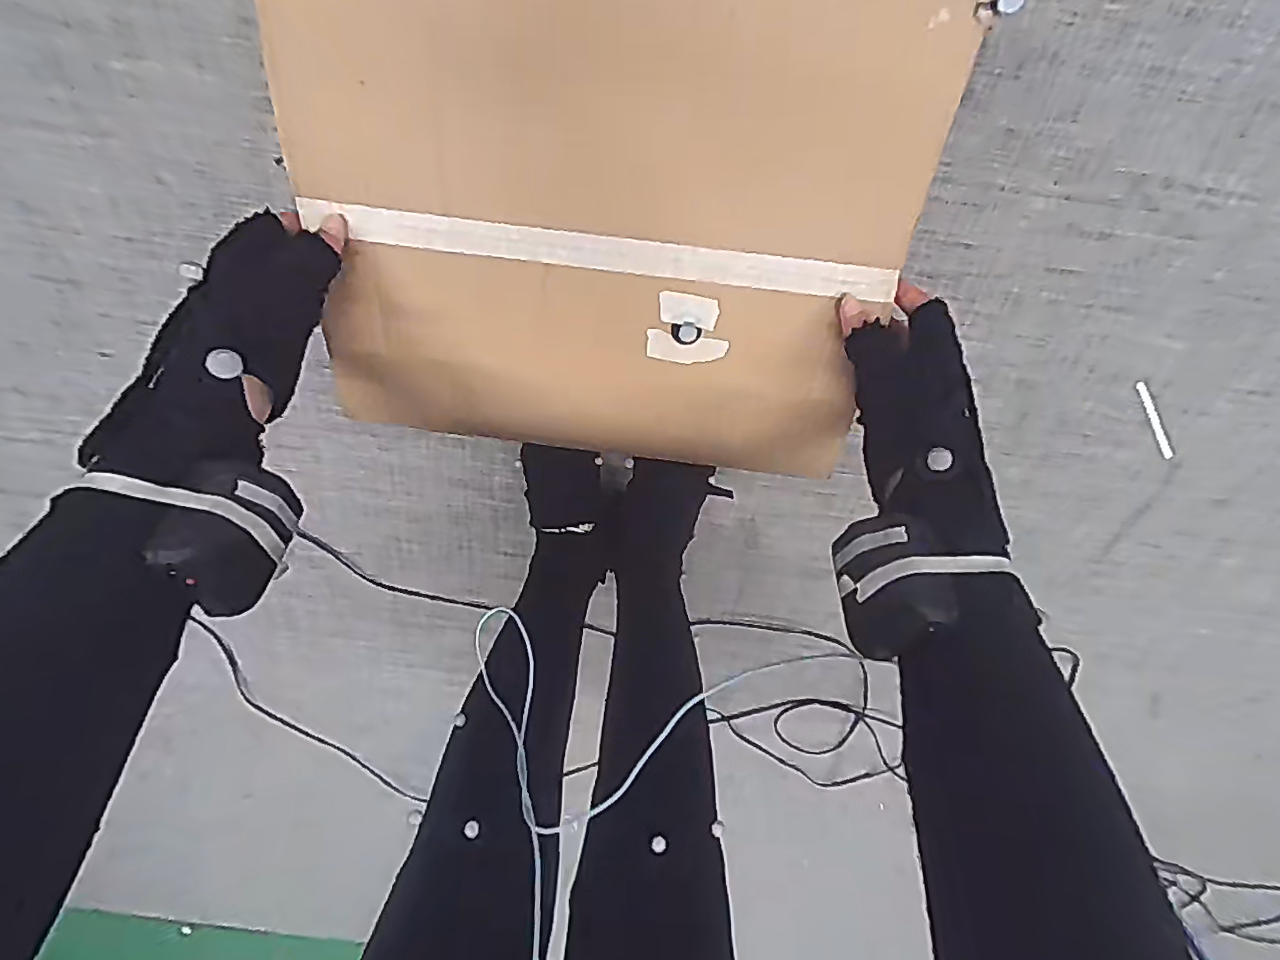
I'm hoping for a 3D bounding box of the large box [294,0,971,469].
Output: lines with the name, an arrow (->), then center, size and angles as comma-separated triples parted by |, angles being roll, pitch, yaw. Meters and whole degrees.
large box -> -0.014, -0.234, 0.511 | 0.408, 0.320, 0.320 | 7, 121, 0
